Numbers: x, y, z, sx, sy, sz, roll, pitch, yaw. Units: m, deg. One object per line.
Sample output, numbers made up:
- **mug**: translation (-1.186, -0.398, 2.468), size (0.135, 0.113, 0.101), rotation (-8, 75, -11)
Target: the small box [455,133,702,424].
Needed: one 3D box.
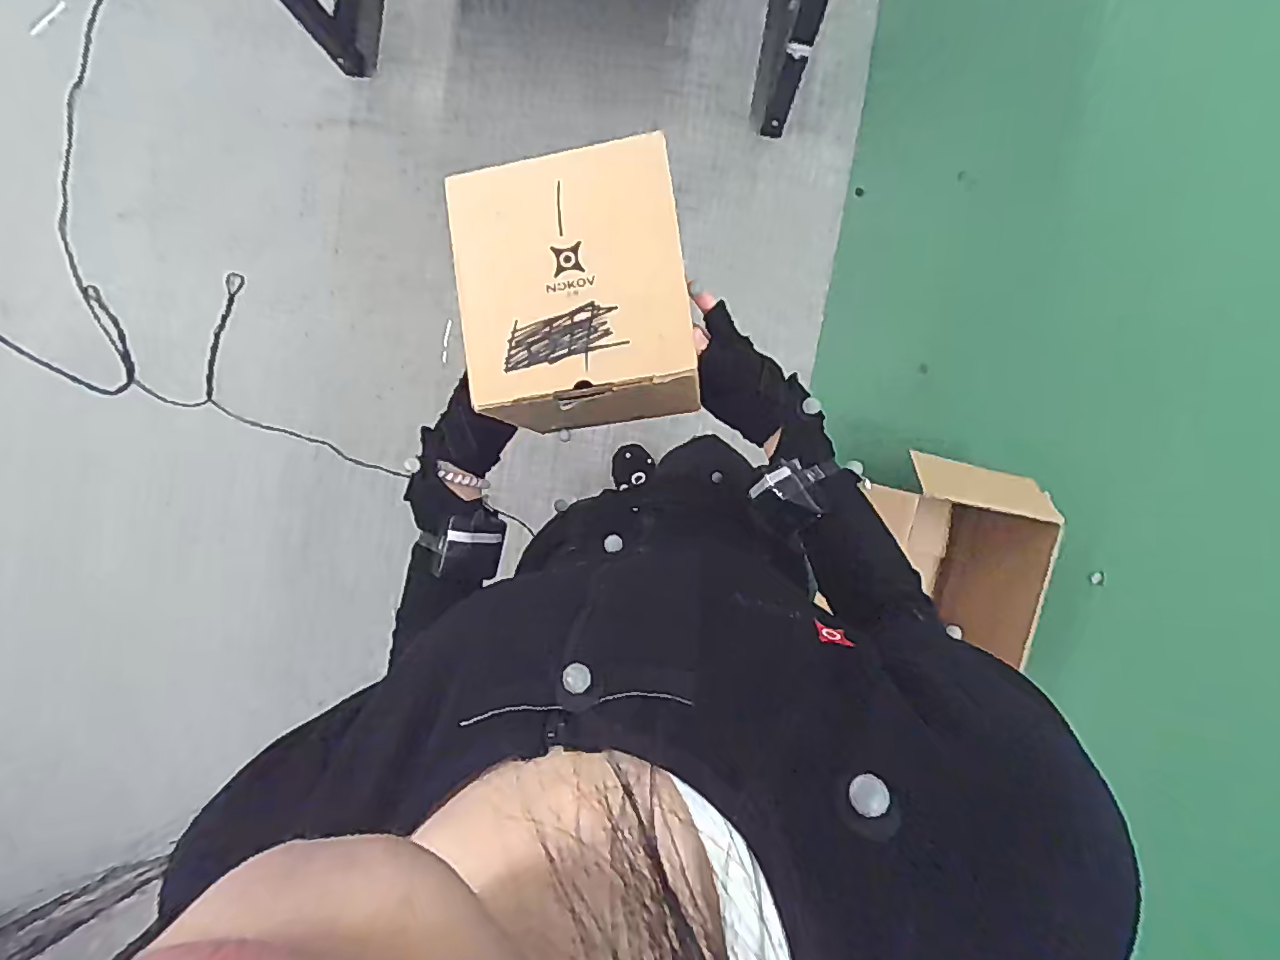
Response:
- **small box**: translation (-0.037, -0.147, 0.463), size (0.168, 0.176, 0.179), rotation (-7, 87, 5)
